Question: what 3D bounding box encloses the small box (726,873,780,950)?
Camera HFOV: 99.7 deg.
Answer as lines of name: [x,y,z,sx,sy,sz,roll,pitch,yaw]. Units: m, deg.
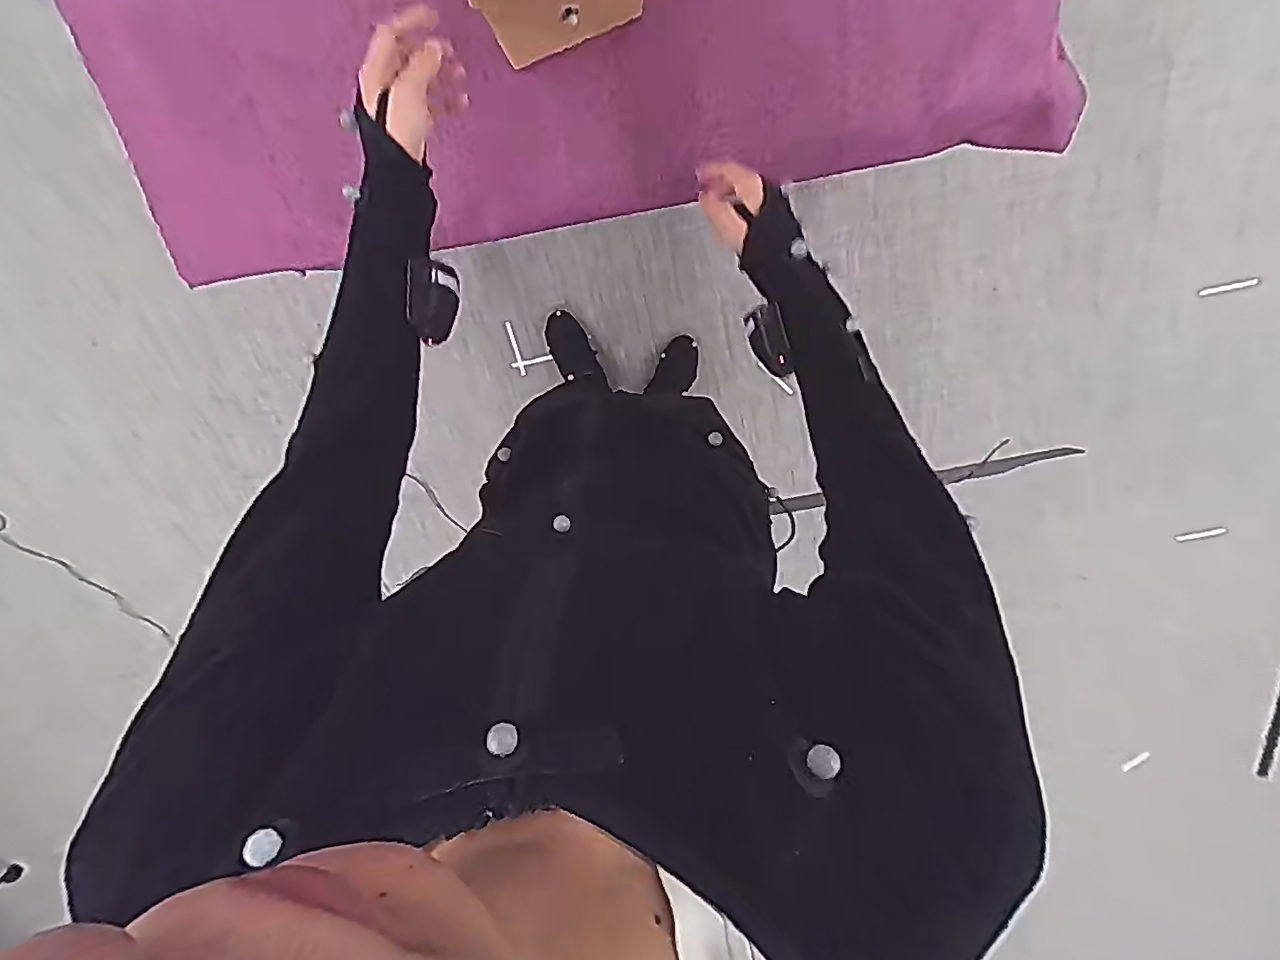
small box: [0.432,1.660,2.086,0.179,0.176,0.168,-9,112,3]
